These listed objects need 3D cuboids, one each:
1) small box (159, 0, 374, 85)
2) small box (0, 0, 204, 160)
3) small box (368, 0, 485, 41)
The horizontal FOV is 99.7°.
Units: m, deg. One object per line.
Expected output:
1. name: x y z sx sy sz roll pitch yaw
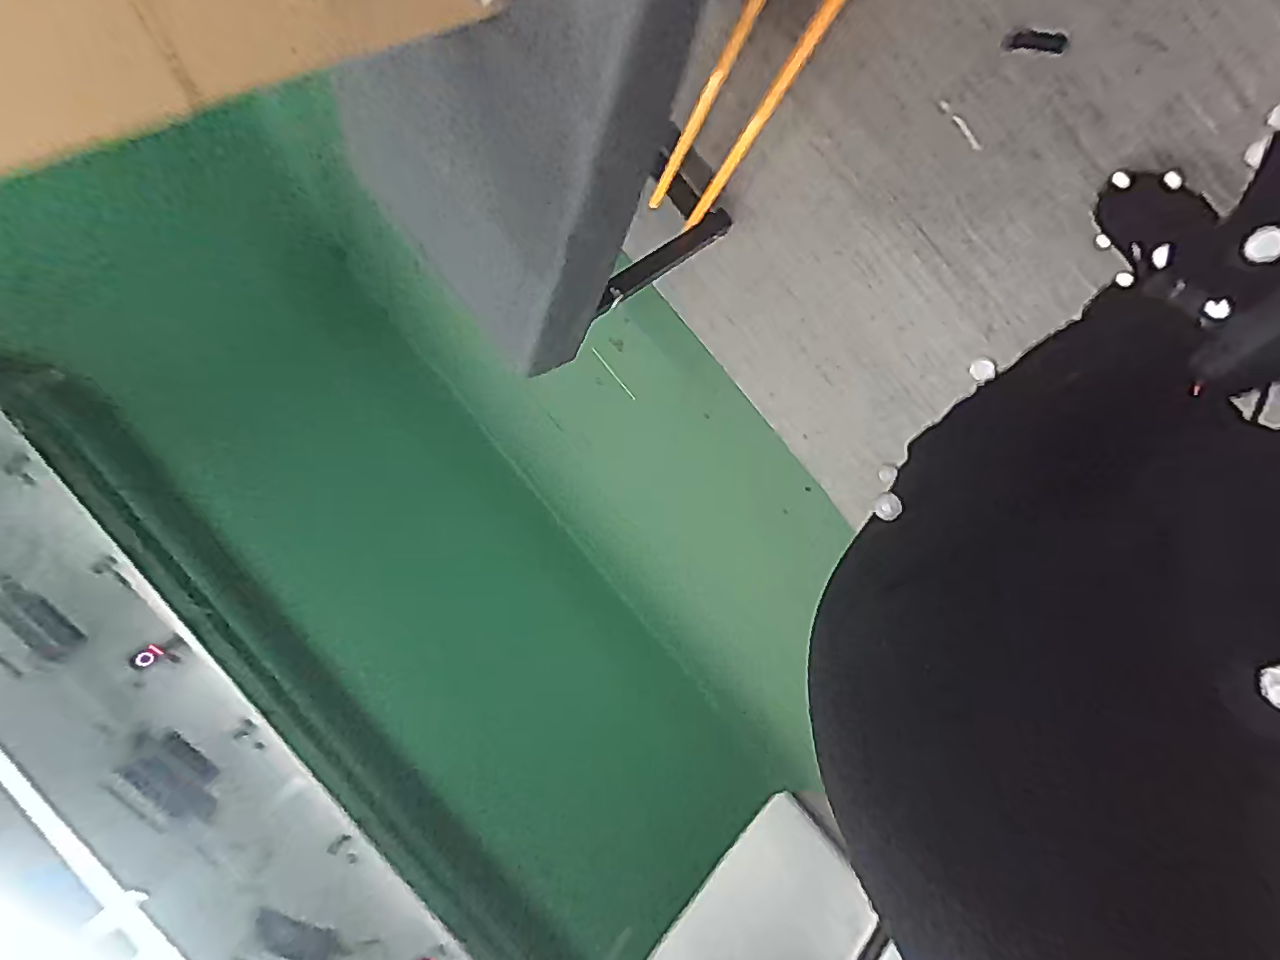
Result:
1. small box: -0.342 -0.467 0.420 0.179 0.176 0.168 50 158 0
2. small box: -0.456 -0.368 0.360 0.168 0.176 0.179 50 158 6
3. small box: -0.223 -0.561 0.485 0.179 0.176 0.168 52 157 -2
